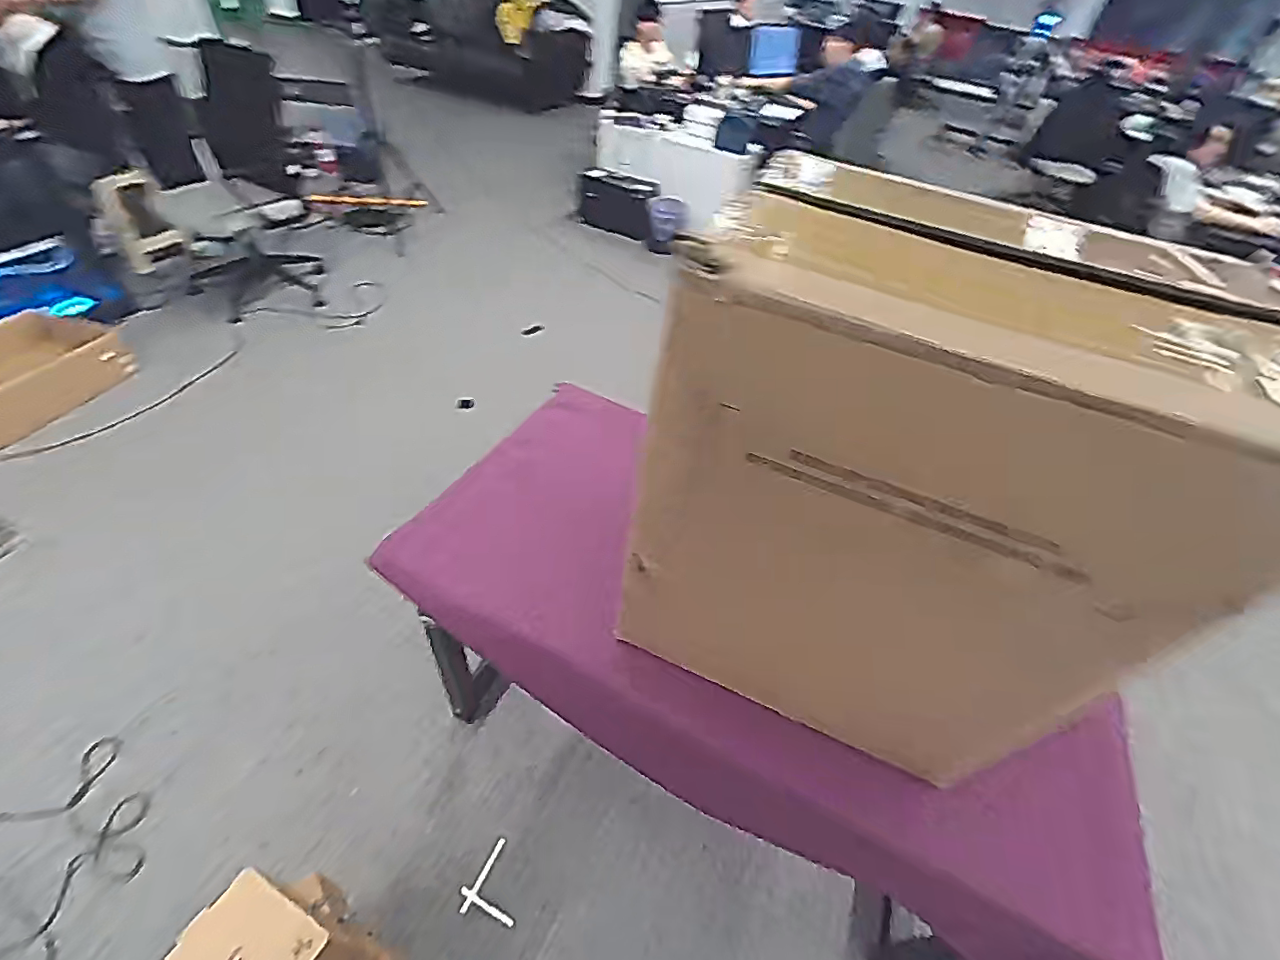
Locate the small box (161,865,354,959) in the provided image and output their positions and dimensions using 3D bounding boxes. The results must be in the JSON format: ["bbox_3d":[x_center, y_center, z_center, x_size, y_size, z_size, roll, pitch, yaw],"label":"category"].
[{"bbox_3d":[-0.559,0.713,0.787,0.179,0.176,0.168,25,47,15],"label":"small box"}]

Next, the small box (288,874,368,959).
[{"bbox_3d":[-0.581,0.819,0.910,0.168,0.176,0.179,-30,55,-33],"label":"small box"}]

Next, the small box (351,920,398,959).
[{"bbox_3d":[-0.575,0.949,1.011,0.179,0.176,0.168,25,47,15],"label":"small box"}]
